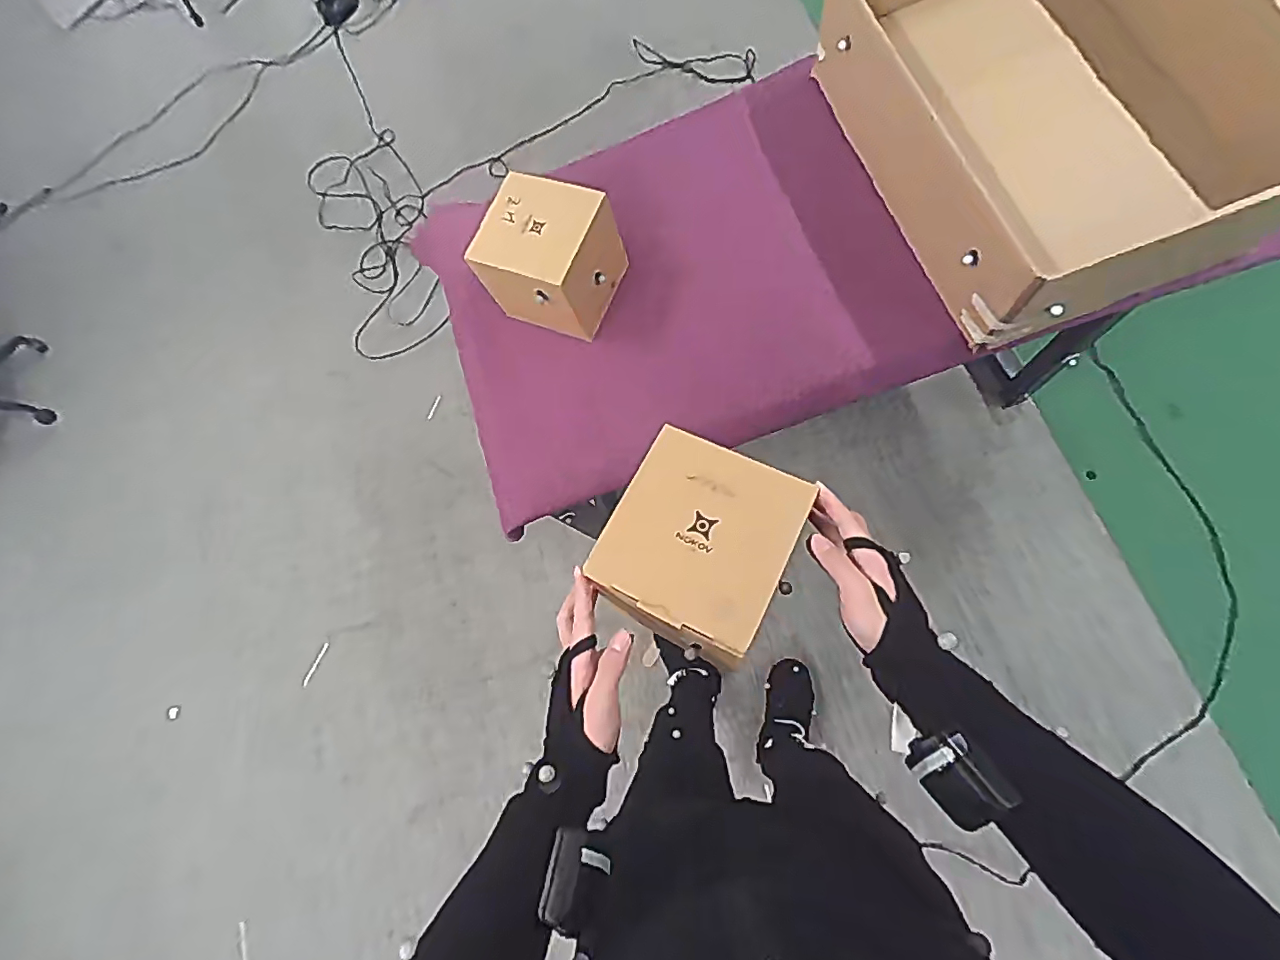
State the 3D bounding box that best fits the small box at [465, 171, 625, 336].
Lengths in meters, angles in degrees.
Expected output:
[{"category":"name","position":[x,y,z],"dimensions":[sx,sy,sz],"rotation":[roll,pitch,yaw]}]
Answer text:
[{"category":"small box","position":[-0.142,-0.359,0.884],"dimensions":[0.179,0.176,0.168],"rotation":[22,80,16]}]
